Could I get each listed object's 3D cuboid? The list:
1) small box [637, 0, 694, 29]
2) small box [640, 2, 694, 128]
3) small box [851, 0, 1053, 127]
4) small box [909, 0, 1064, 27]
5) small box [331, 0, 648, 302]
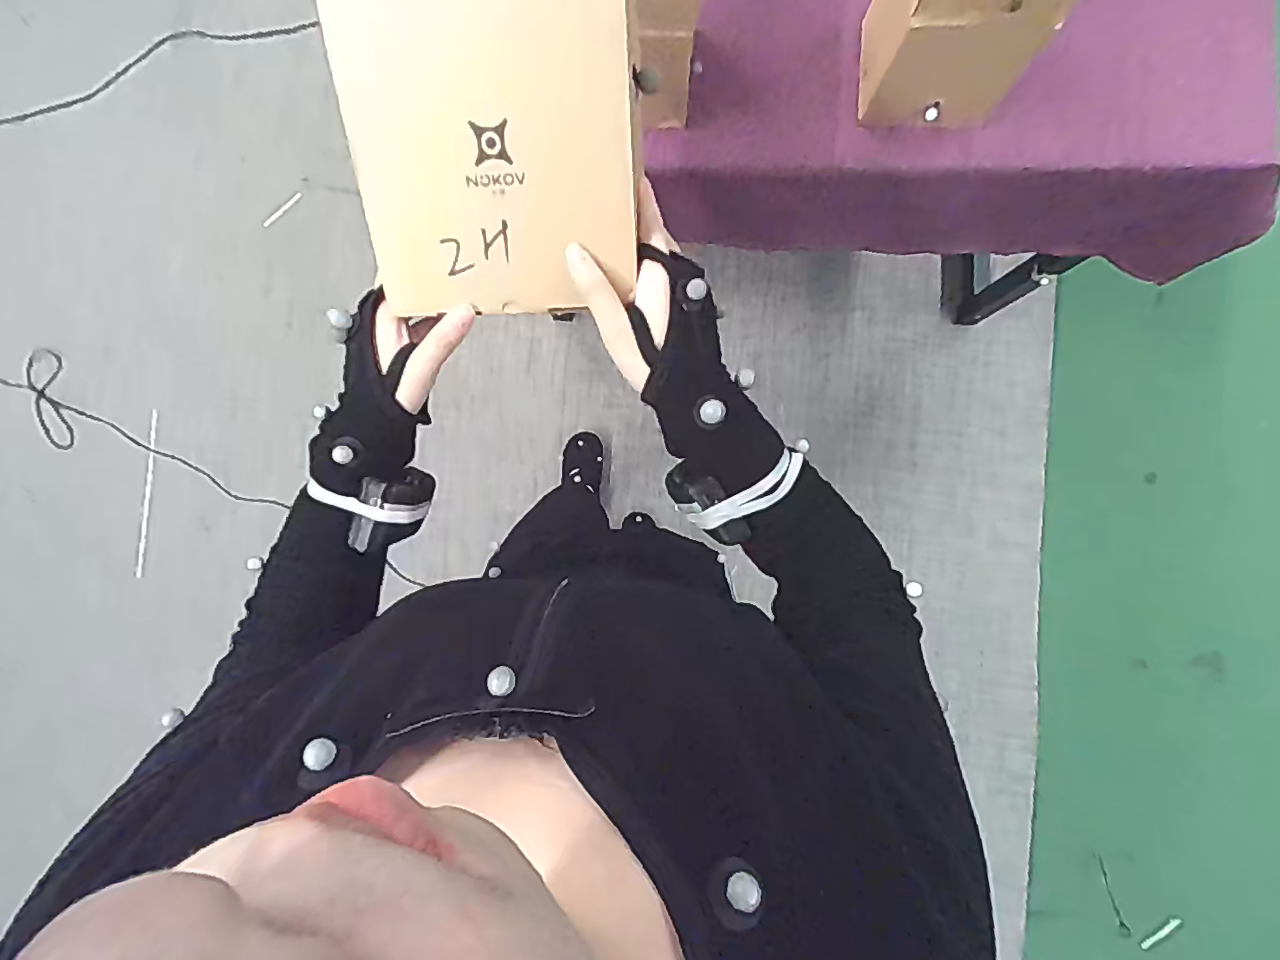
[{"bbox_3d":[-0.019,-0.620,0.566,0.179,0.176,0.168,4,88,4],"label":"small box"},{"bbox_3d":[-0.019,-0.611,0.730,0.179,0.176,0.168,5,88,2],"label":"small box"},{"bbox_3d":[0.401,-0.602,0.714,0.179,0.176,0.168,4,87,2],"label":"small box"},{"bbox_3d":[0.395,-0.620,0.552,0.168,0.176,0.179,4,88,2],"label":"small box"},{"bbox_3d":[-0.080,-0.231,0.389,0.168,0.176,0.179,-1,117,3],"label":"small box"}]
